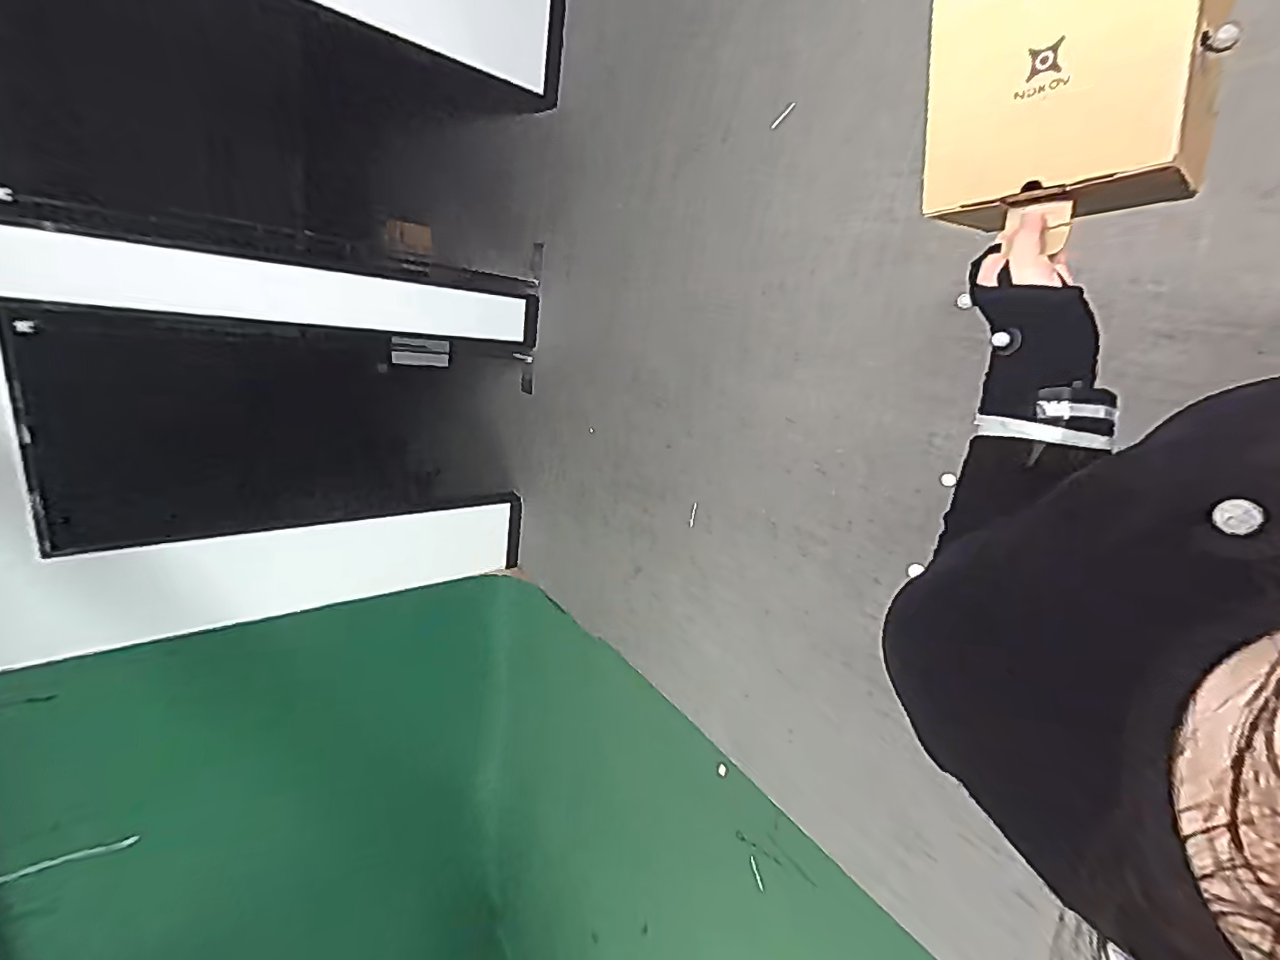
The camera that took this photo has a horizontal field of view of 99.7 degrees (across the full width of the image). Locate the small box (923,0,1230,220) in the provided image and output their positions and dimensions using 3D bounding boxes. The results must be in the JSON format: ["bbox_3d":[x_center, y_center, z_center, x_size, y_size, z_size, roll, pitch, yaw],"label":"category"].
[{"bbox_3d":[0.363,-0.333,0.456,0.168,0.176,0.179,13,113,47],"label":"small box"}]
